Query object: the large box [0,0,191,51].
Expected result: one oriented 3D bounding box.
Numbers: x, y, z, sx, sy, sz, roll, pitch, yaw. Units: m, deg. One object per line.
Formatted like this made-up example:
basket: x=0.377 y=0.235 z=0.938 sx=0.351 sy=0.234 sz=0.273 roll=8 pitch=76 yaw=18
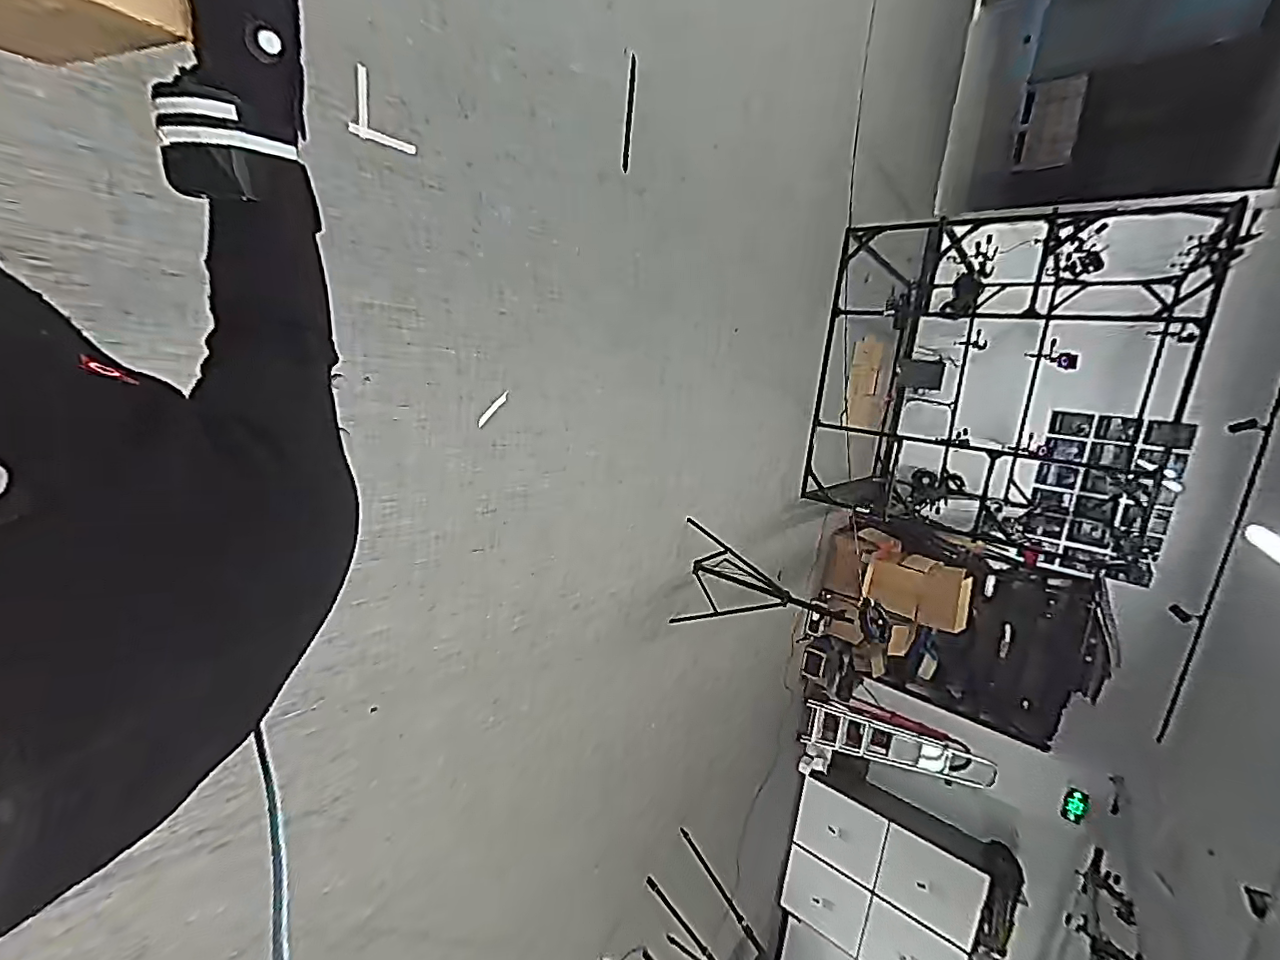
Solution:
large box: x=-0.508 y=-0.458 z=0.226 sx=0.408 sy=0.320 sz=0.320 roll=-18 pitch=124 yaw=-56
